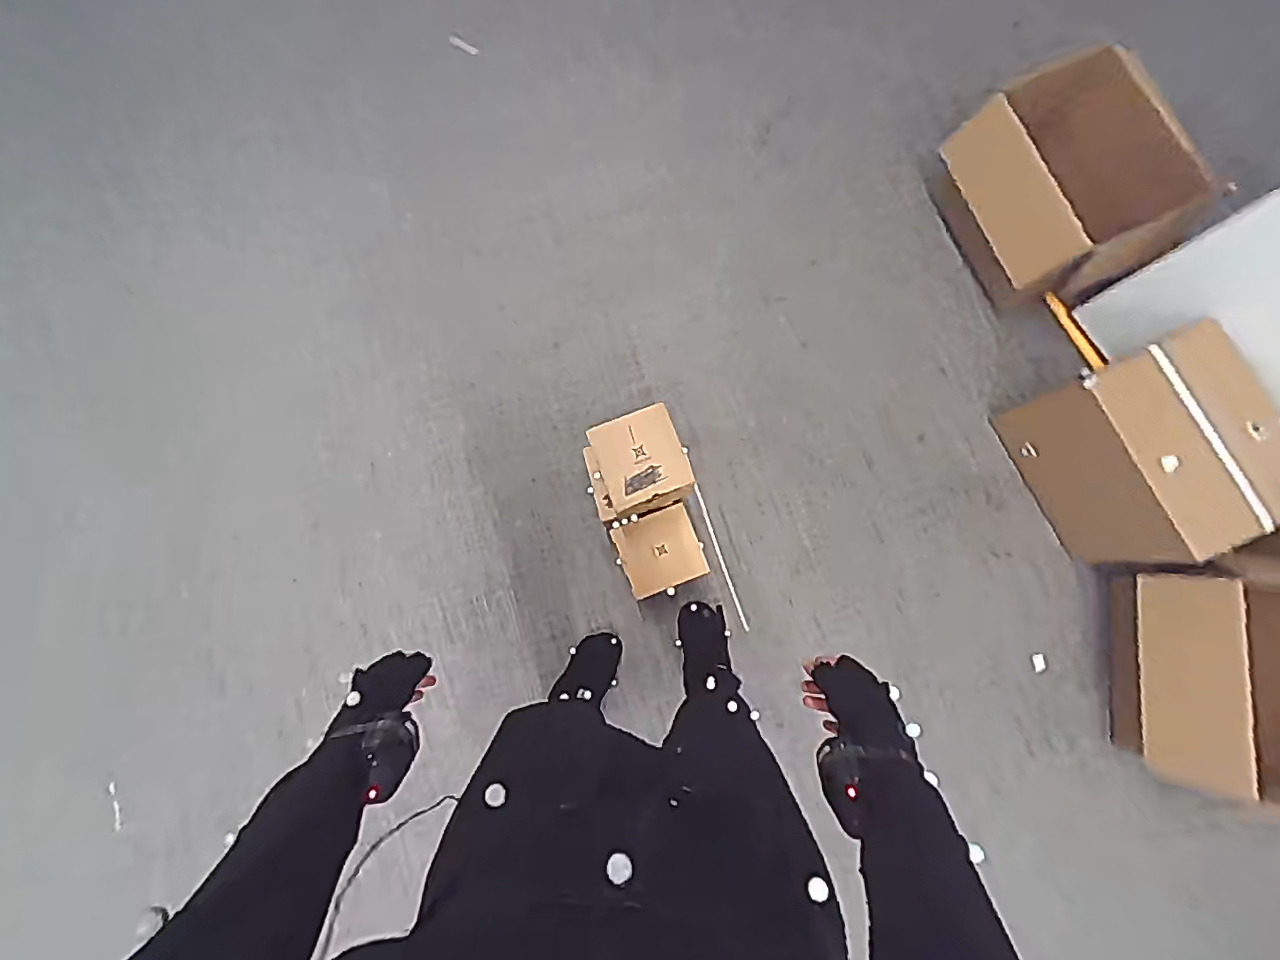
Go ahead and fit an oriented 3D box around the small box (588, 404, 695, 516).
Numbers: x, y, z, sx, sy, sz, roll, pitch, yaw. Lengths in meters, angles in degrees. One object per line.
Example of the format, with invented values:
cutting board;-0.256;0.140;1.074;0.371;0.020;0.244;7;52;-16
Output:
small box;0.003;-0.031;1.116;0.168;0.176;0.179;-20;80;-3
